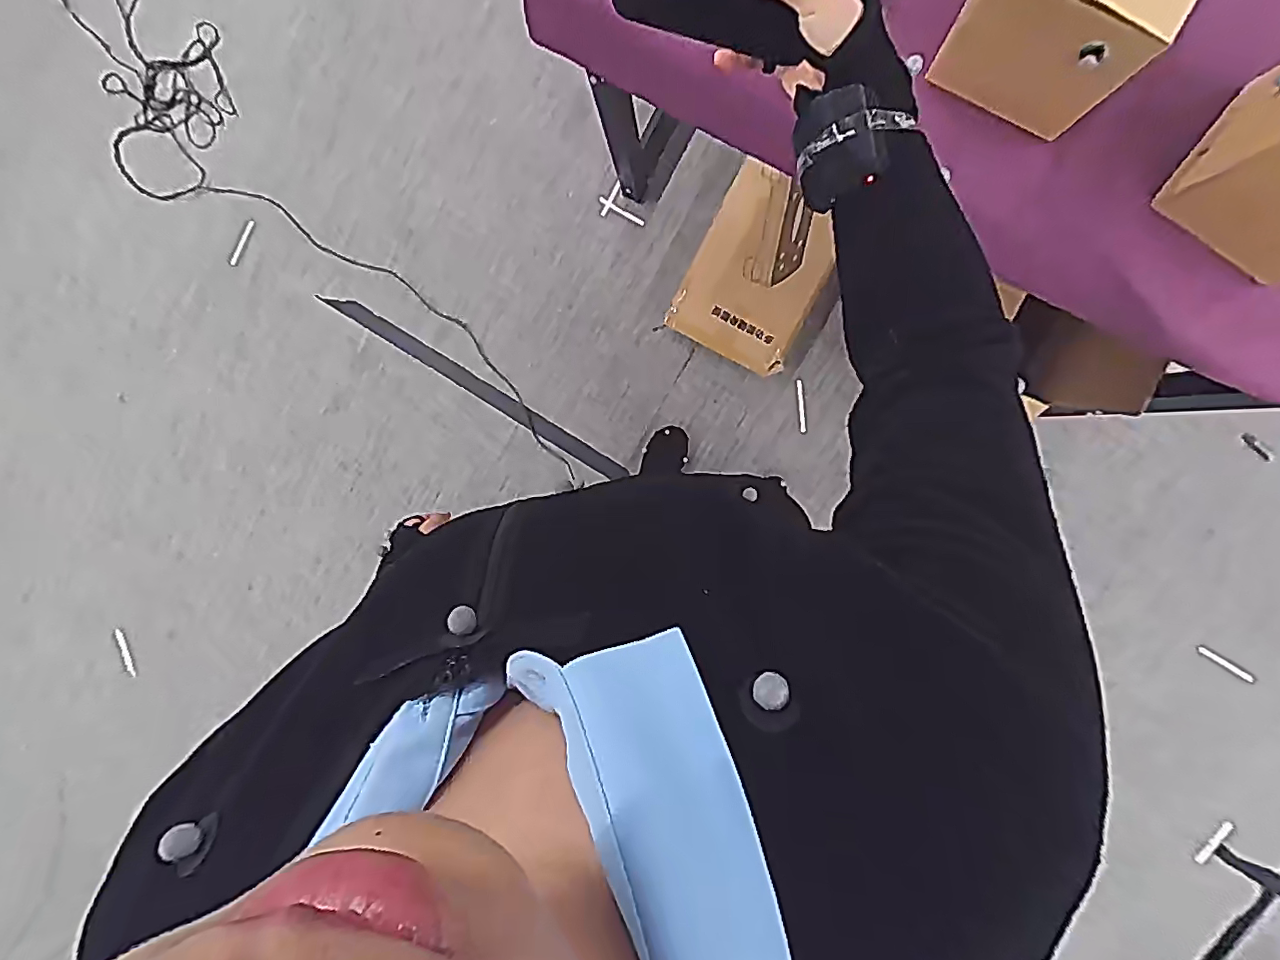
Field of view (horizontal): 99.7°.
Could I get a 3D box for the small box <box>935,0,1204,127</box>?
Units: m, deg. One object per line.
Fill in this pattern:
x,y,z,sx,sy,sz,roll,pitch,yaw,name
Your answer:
0.462,-0.518,0.570,0.179,0.176,0.168,29,95,2,small box

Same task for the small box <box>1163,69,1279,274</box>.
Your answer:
0.729,-0.345,0.563,0.179,0.176,0.168,36,98,1,small box
